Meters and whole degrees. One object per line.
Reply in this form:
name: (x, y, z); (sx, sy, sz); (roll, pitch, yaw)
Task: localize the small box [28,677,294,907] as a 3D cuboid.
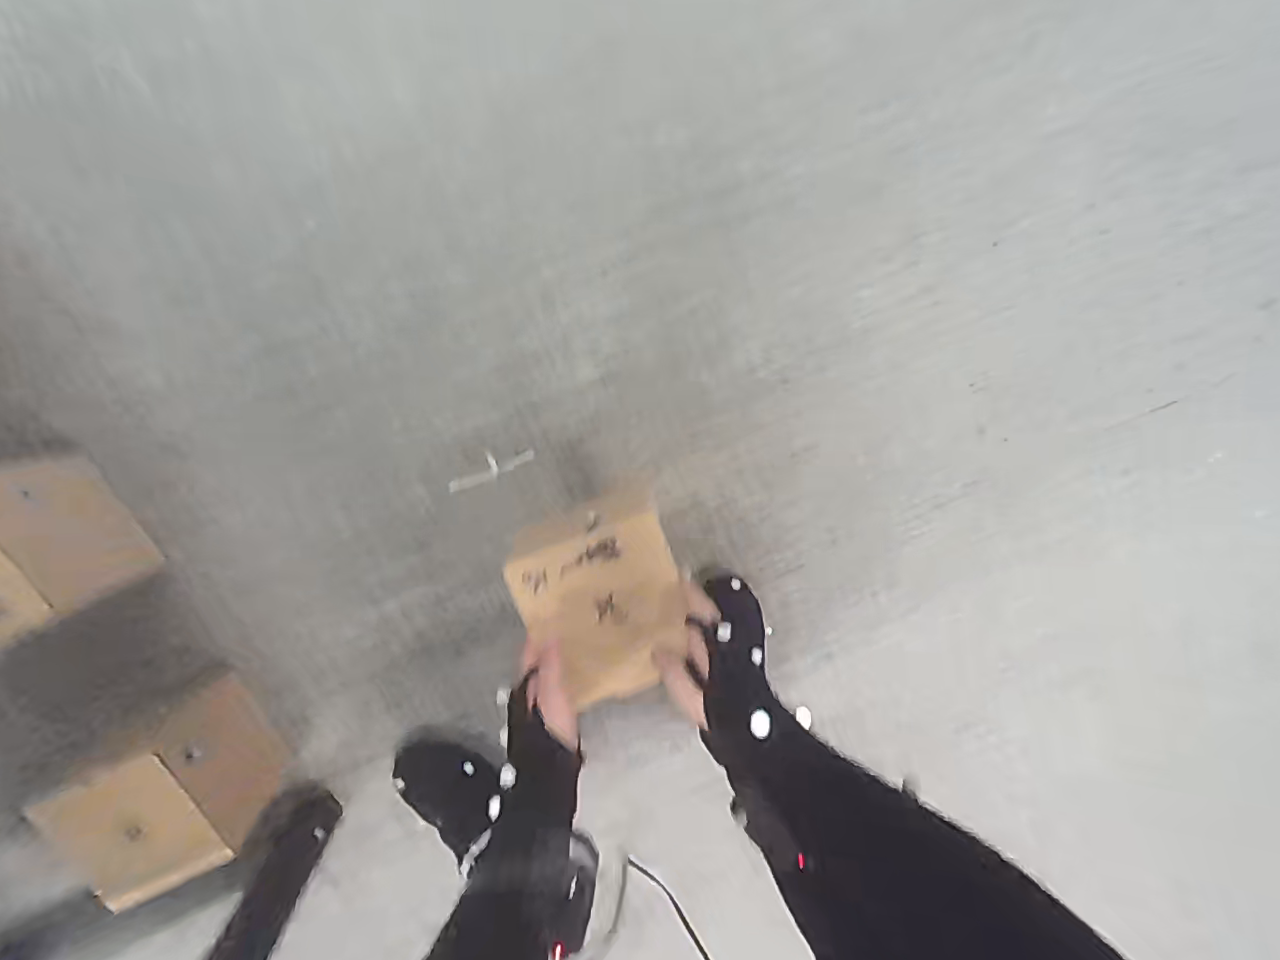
small box: (-0.618, 0.406, 0.730); (0.168, 0.176, 0.179); (-25, 102, -1)
